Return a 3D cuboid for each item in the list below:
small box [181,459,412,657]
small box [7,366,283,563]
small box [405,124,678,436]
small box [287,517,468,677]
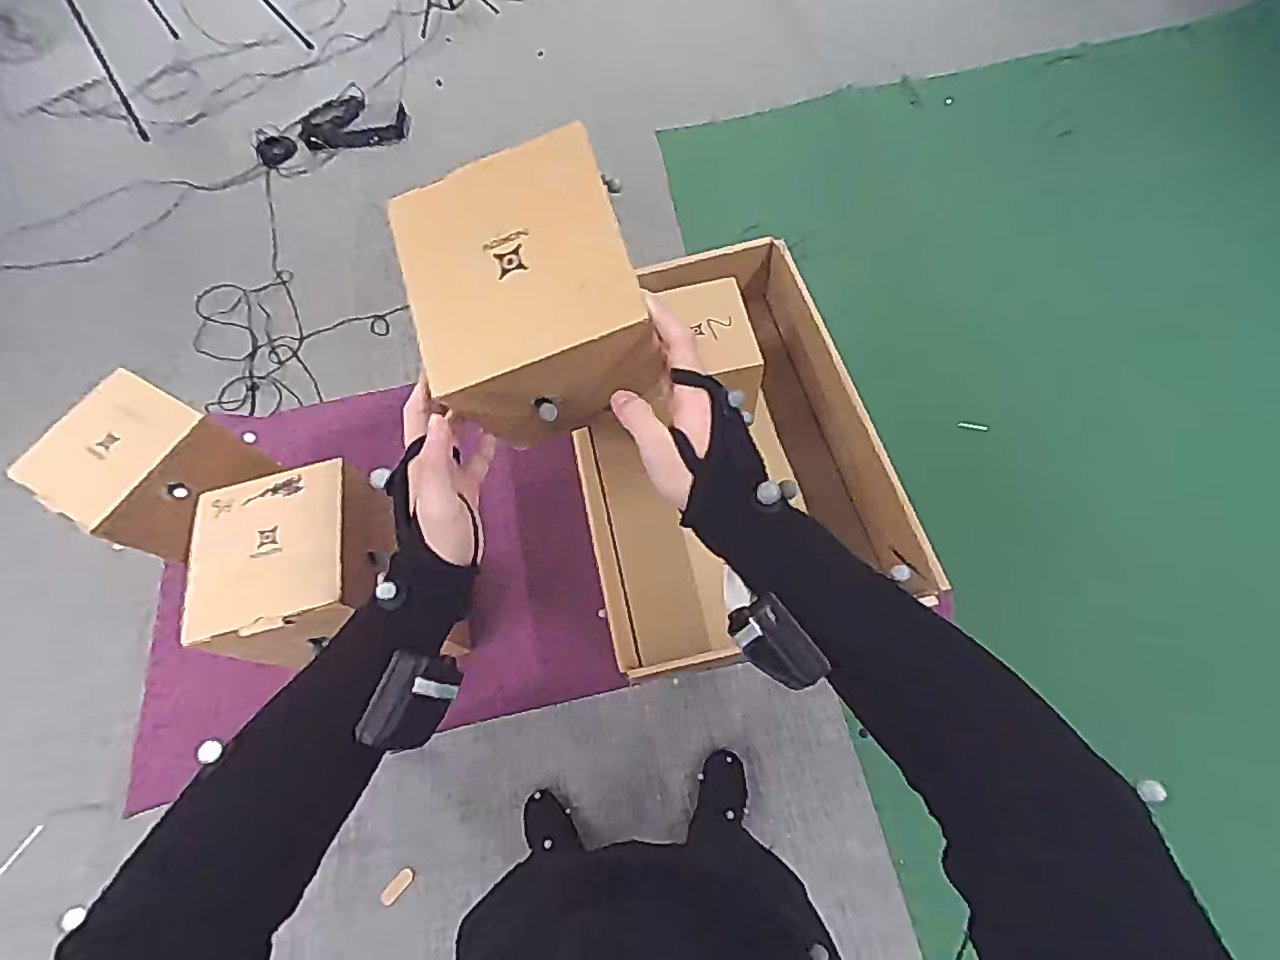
[{"bbox_3d":[-0.388,0.103,0.643,0.168,0.176,0.179,-14,64,-2],"label":"small box"},{"bbox_3d":[-0.634,-0.011,0.719,0.168,0.176,0.179,27,70,14],"label":"small box"},{"bbox_3d":[-0.071,-0.150,0.475,0.168,0.176,0.179,-18,77,5],"label":"small box"},{"bbox_3d":[-0.372,0.178,0.787,0.179,0.176,0.168,-15,64,-3],"label":"small box"}]
